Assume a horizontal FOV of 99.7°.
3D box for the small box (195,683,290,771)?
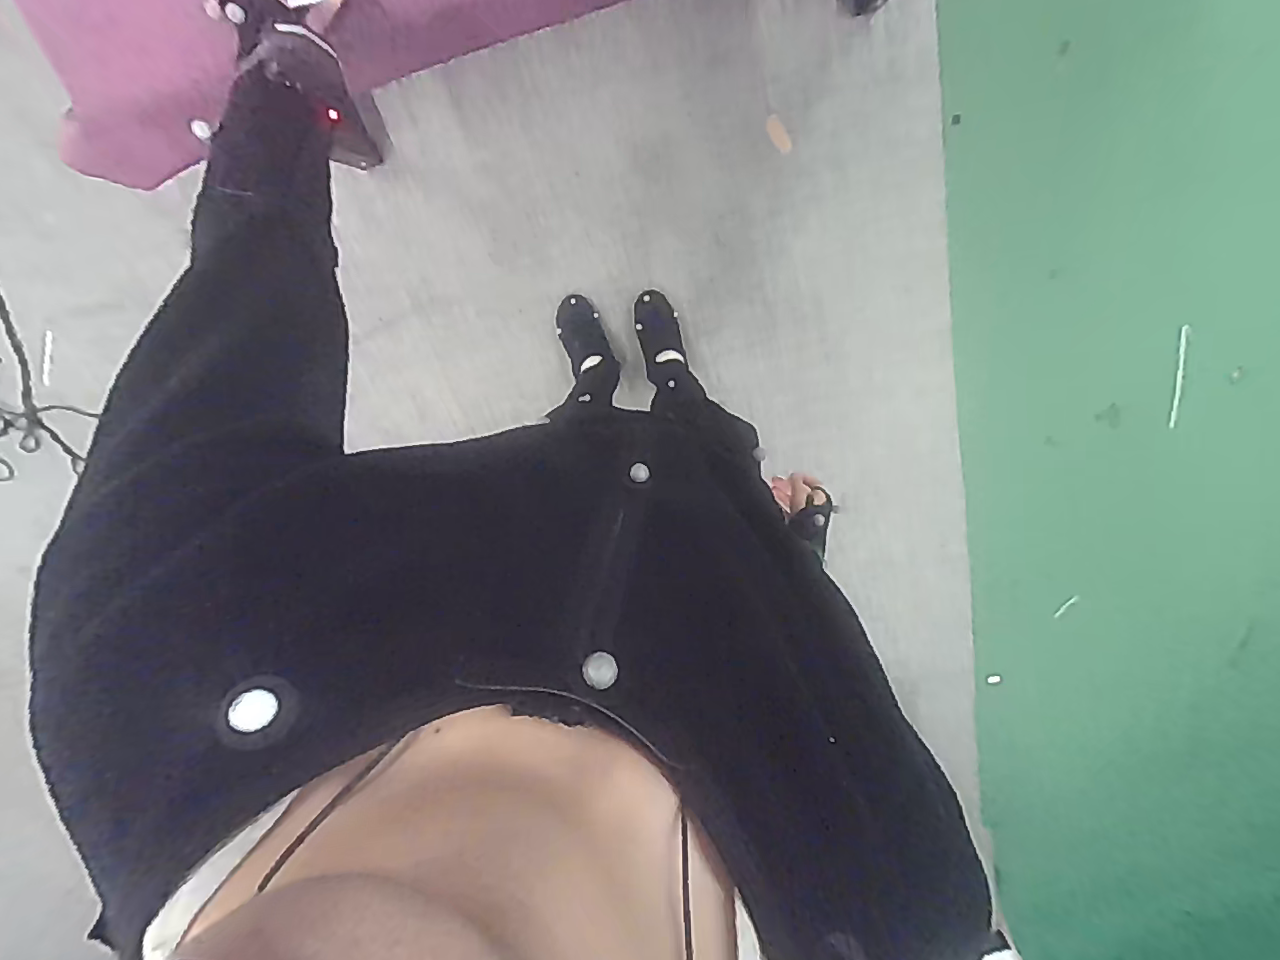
[{"bbox_3d":[-1.252,0.765,1.695,0.168,0.176,0.179,-18,115,3],"label":"small box"}]
